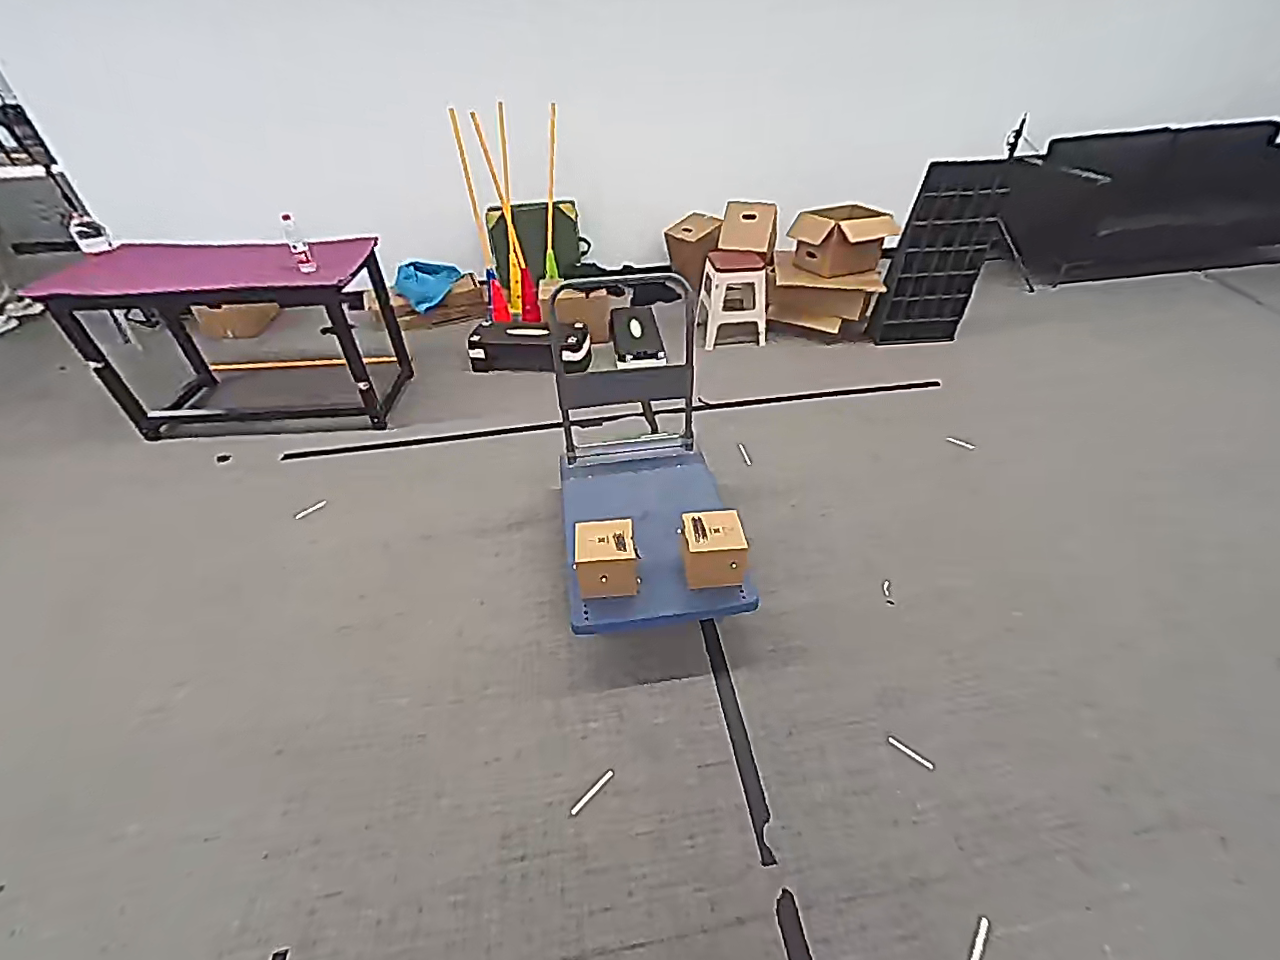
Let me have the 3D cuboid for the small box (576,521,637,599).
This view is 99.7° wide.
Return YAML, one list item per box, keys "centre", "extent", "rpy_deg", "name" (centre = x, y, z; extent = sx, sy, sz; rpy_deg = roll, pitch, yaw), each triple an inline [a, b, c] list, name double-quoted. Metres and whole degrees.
- centre: [-0.100, 0.246, 1.657]
  extent: [0.179, 0.176, 0.168]
  rpy_deg: [-4, 40, -2]
  name: "small box"
